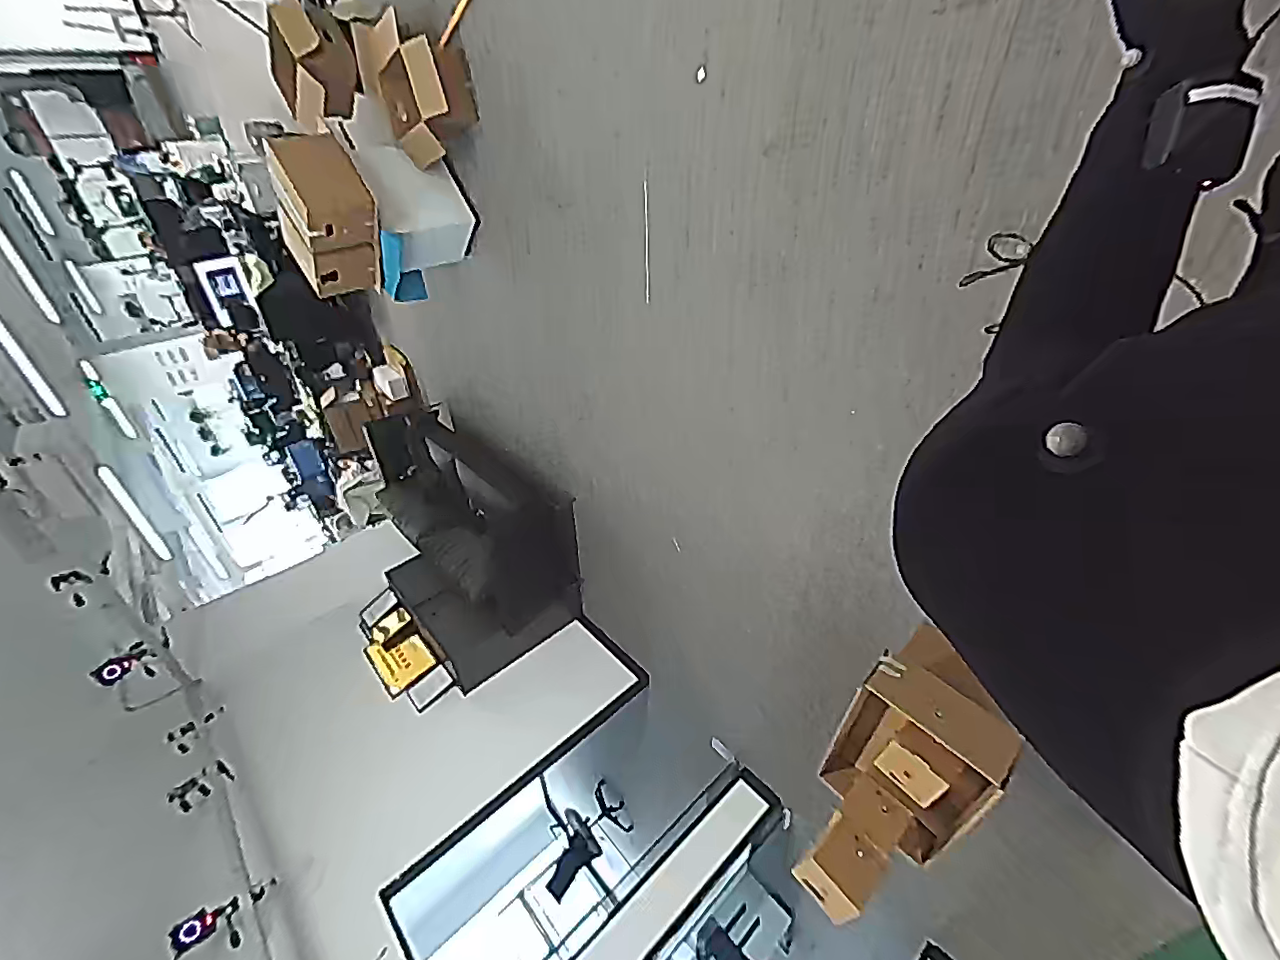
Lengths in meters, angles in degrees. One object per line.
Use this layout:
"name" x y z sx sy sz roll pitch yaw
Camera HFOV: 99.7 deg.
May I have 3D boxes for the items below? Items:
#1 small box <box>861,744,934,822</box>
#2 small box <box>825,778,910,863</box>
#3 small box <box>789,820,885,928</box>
"small box" 0.803 0.993 1.724 0.168 0.176 0.179 34 136 36
"small box" 0.683 1.053 1.633 0.168 0.176 0.179 34 136 37
"small box" 0.564 1.120 1.543 0.168 0.176 0.179 41 140 29
